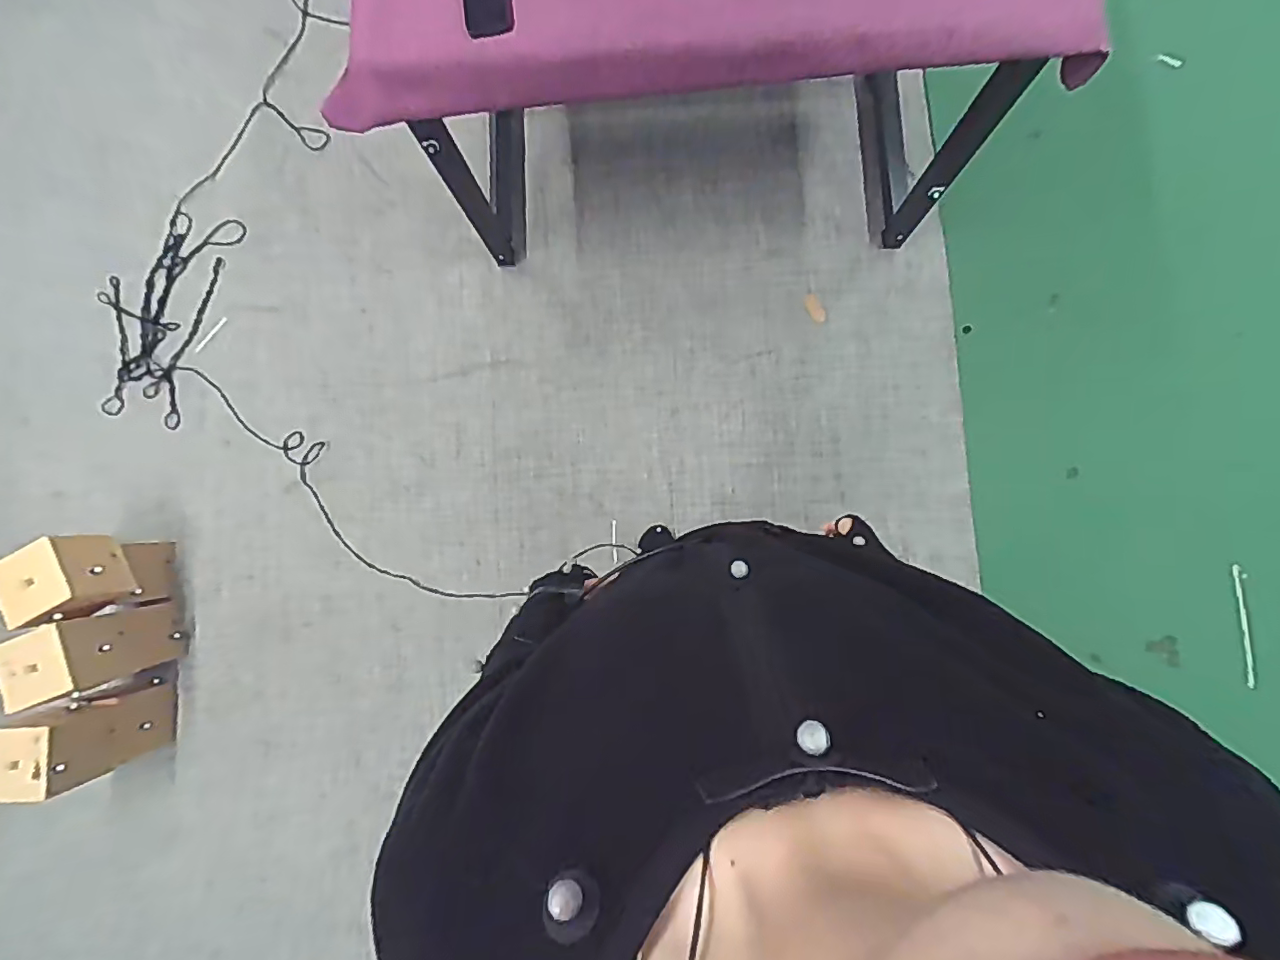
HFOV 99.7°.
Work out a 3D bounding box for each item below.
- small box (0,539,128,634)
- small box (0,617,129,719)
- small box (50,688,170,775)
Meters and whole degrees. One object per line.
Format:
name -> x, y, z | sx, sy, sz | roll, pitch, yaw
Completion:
small box -> -1.435, 0.254, 1.341 | 0.179, 0.176, 0.168 | -29, 83, 1
small box -> -1.411, 0.450, 1.323 | 0.179, 0.176, 0.168 | -21, 84, 2
small box -> -1.426, 0.673, 1.466 | 0.168, 0.176, 0.179 | -4, 85, 3
